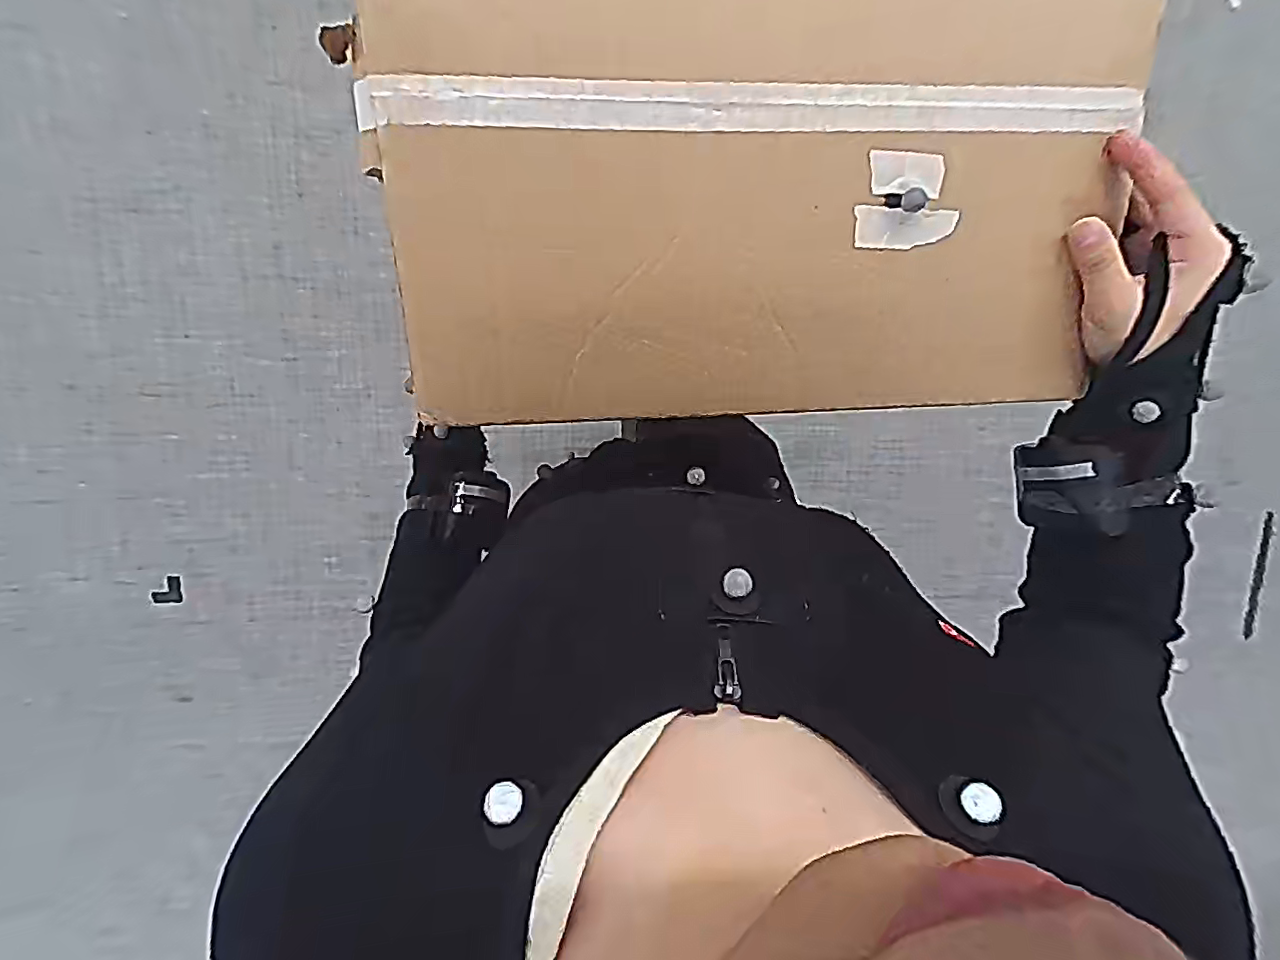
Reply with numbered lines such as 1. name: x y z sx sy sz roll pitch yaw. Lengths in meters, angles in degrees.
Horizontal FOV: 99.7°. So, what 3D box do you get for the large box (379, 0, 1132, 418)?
1. large box: 0.052 -0.236 0.432 0.408 0.320 0.320 -4 106 -7
